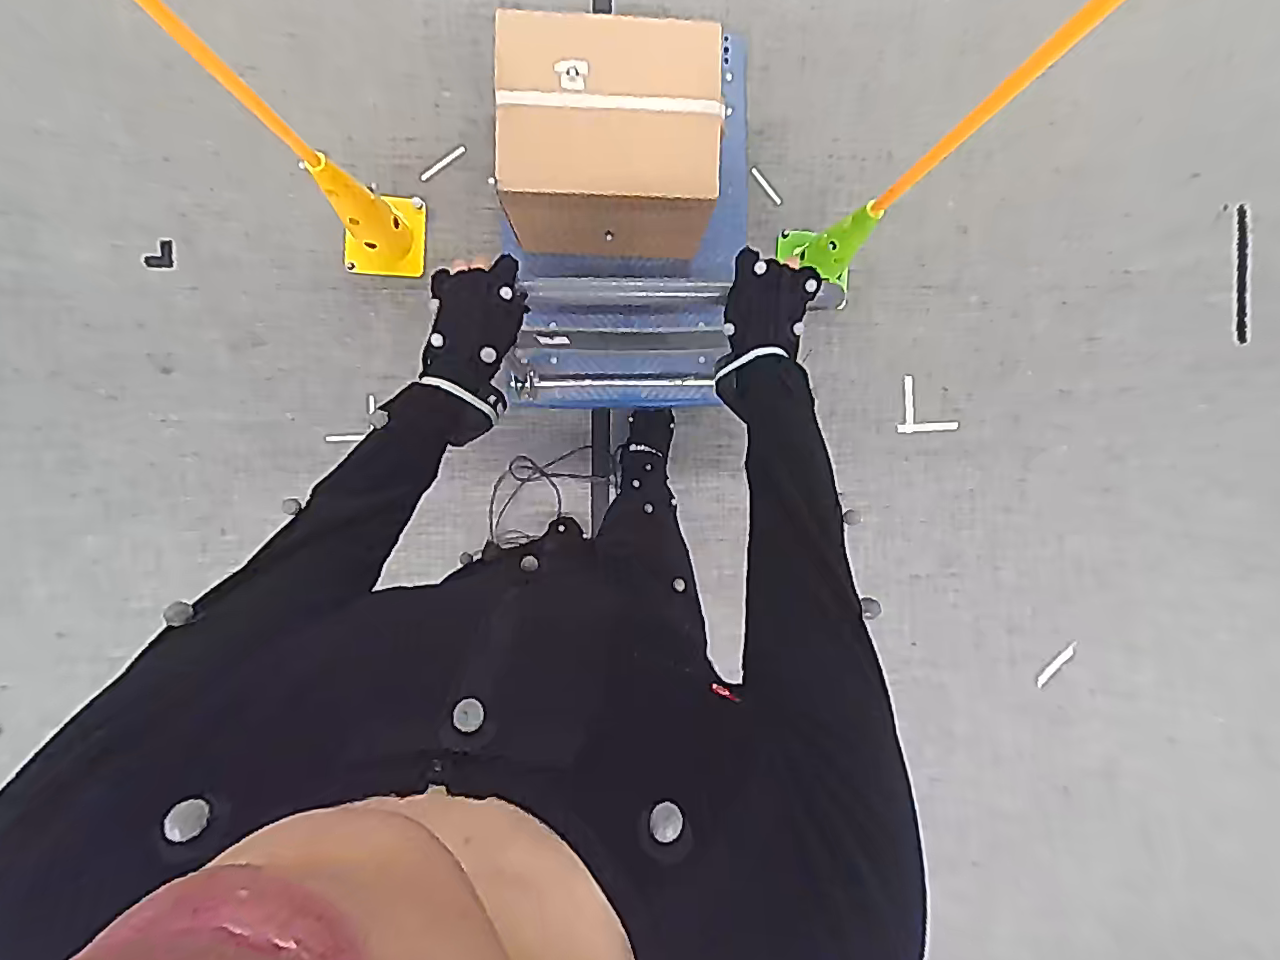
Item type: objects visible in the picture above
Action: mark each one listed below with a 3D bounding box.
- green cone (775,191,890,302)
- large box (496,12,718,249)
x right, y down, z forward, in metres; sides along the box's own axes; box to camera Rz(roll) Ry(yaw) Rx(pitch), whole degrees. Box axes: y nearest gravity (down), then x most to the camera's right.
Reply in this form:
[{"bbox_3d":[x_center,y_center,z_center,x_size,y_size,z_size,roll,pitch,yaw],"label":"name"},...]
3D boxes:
[{"bbox_3d":[0.483,-0.585,1.302,0.202,0.368,0.200,3,92,-5],"label":"green cone"},{"bbox_3d":[-0.061,-0.689,1.122,0.408,0.320,0.320,1,93,-2],"label":"large box"}]
